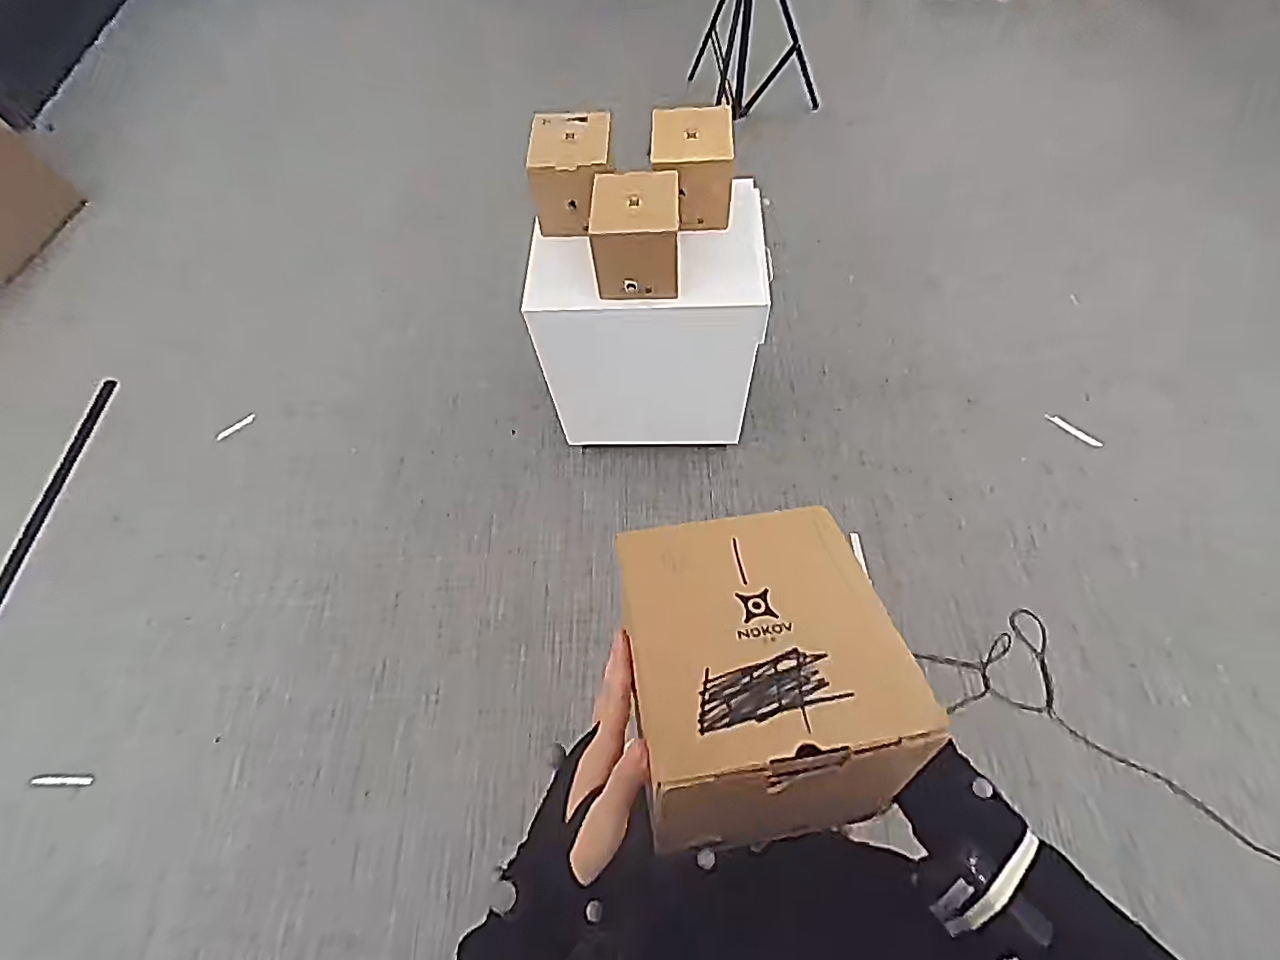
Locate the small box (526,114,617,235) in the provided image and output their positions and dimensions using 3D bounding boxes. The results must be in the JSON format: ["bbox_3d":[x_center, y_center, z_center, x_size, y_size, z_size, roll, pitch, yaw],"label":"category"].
[{"bbox_3d":[-0.141,-0.660,1.183,0.168,0.176,0.179,0,65,3],"label":"small box"}]

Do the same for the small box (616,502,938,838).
[{"bbox_3d":[0.077,0.144,0.405,0.168,0.176,0.179,-7,43,-6],"label":"small box"}]

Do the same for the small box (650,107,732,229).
[{"bbox_3d":[0.110,-0.665,1.170,0.168,0.176,0.179,0,64,4],"label":"small box"}]
